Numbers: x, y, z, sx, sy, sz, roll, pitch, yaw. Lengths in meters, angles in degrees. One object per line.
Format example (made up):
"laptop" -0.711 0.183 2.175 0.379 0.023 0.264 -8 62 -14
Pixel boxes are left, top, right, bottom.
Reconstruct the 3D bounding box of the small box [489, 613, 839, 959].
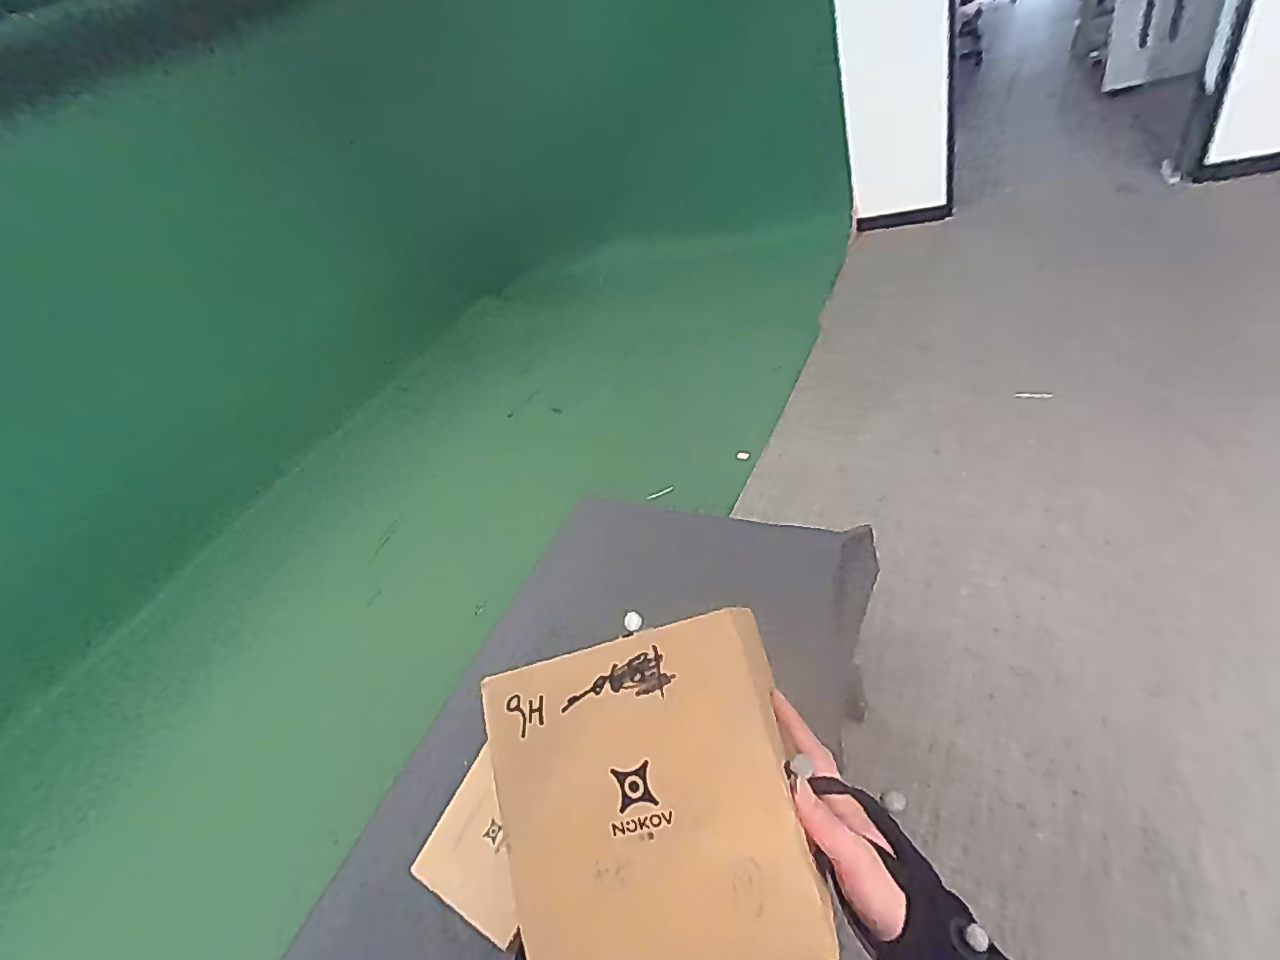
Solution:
"small box" 0.023 0.198 0.374 0.168 0.176 0.179 -18 74 9

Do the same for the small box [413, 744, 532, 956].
"small box" -0.146 0.486 0.711 0.179 0.176 0.168 6 49 34
